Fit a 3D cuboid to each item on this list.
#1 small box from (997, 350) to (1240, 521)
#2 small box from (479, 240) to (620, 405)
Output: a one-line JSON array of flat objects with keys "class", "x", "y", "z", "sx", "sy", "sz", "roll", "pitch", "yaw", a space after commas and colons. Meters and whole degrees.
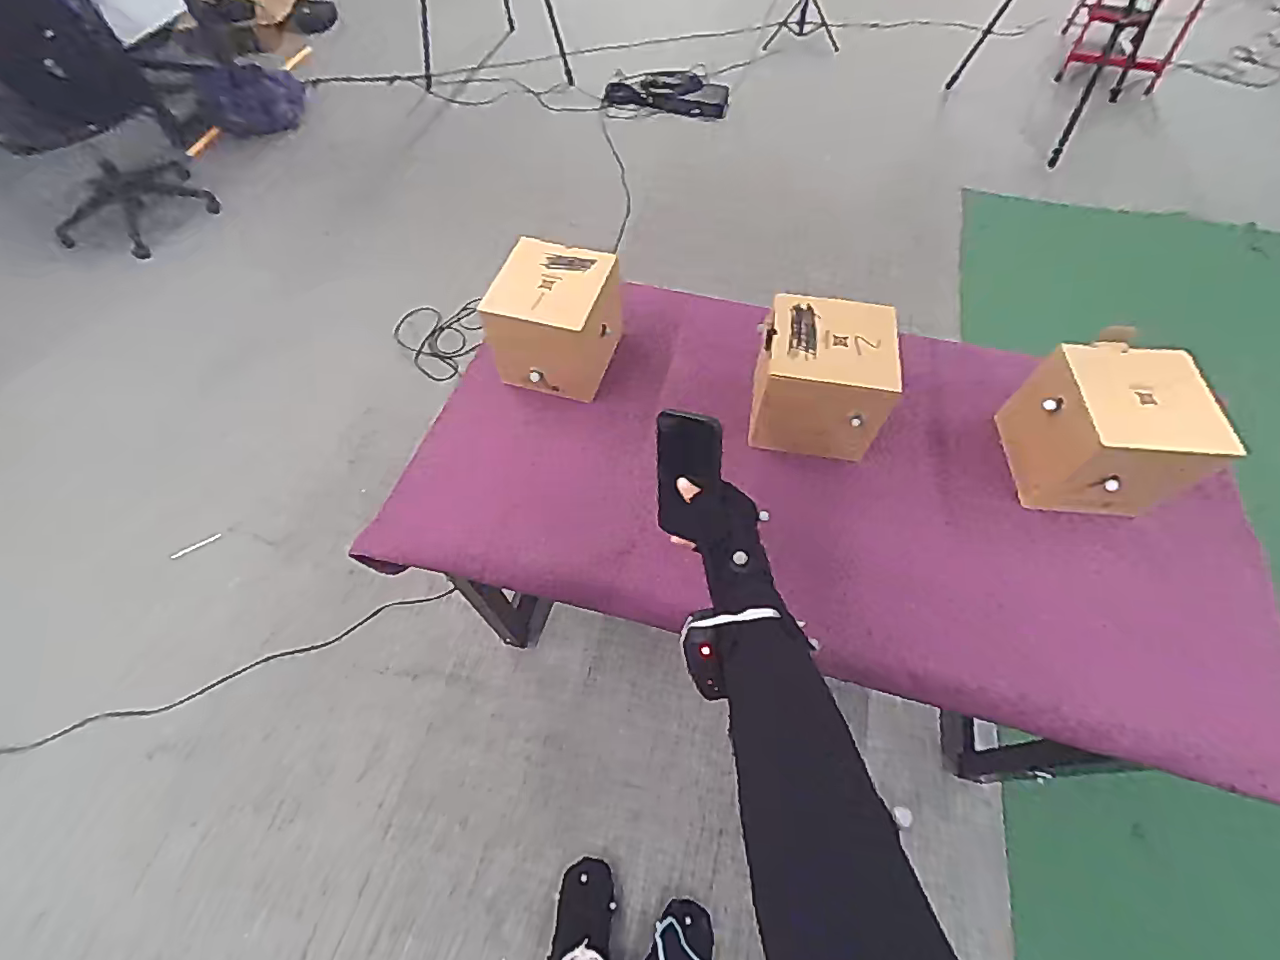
[{"class": "small box", "x": 0.645, "y": -0.057, "z": 0.760, "sx": 0.168, "sy": 0.176, "sz": 0.179, "roll": 4, "pitch": 58, "yaw": 4}, {"class": "small box", "x": -0.135, "y": -0.254, "z": 0.886, "sx": 0.168, "sy": 0.176, "sz": 0.179, "roll": 15, "pitch": 61, "yaw": 9}]
